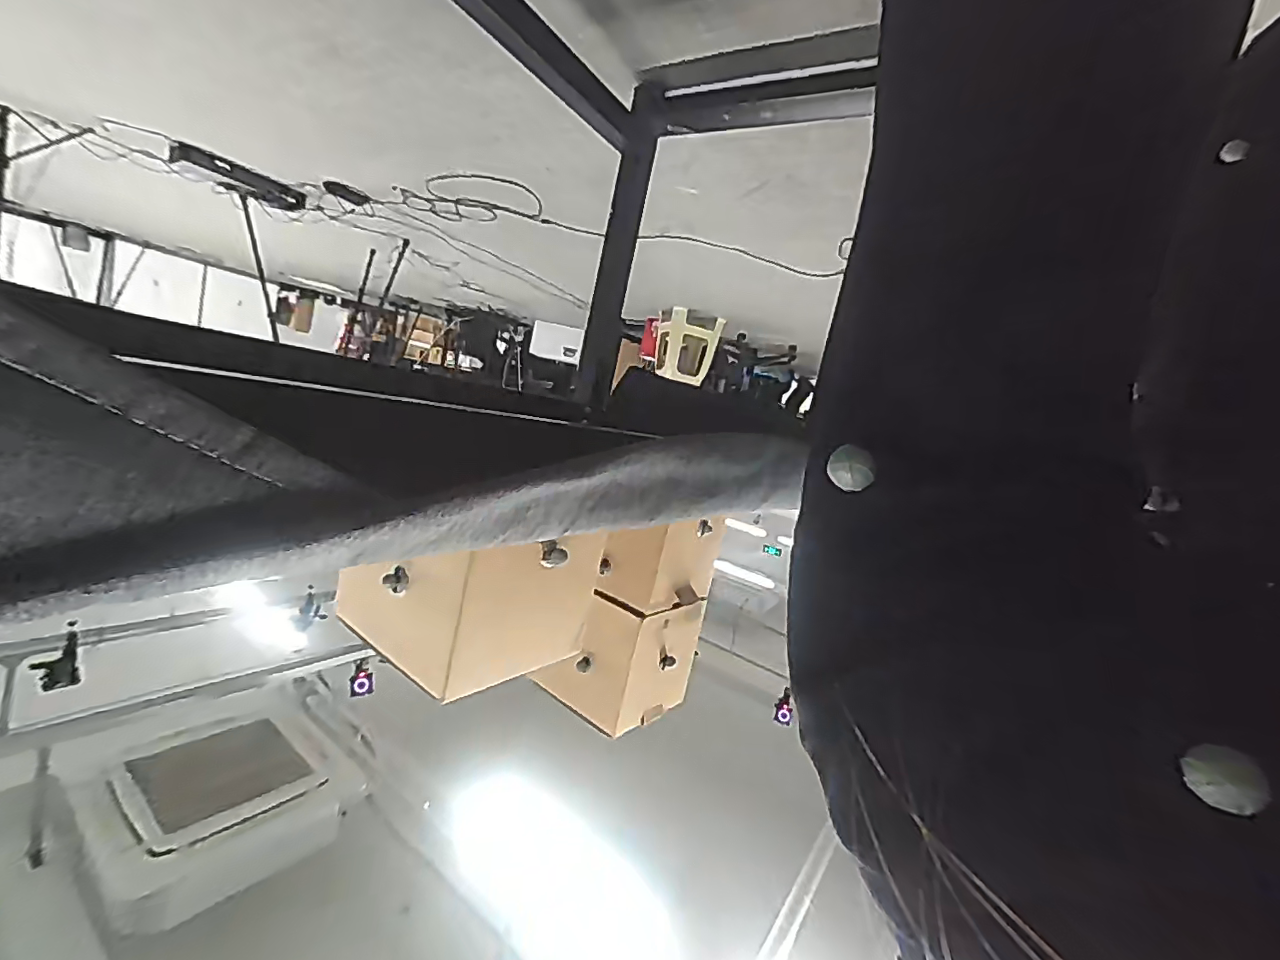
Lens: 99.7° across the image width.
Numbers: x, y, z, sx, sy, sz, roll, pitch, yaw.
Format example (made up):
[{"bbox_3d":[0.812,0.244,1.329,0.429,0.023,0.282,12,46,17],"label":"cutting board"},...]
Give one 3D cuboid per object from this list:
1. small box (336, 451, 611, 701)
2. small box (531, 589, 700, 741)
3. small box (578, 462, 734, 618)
[{"bbox_3d":[-0.151,0.069,0.511,0.179,0.176,0.168,18,-171,33],"label":"small box"},{"bbox_3d":[-0.029,0.230,0.777,0.179,0.176,0.168,17,-173,37],"label":"small box"},{"bbox_3d":[0.009,0.072,0.764,0.179,0.176,0.168,18,-172,35],"label":"small box"}]
